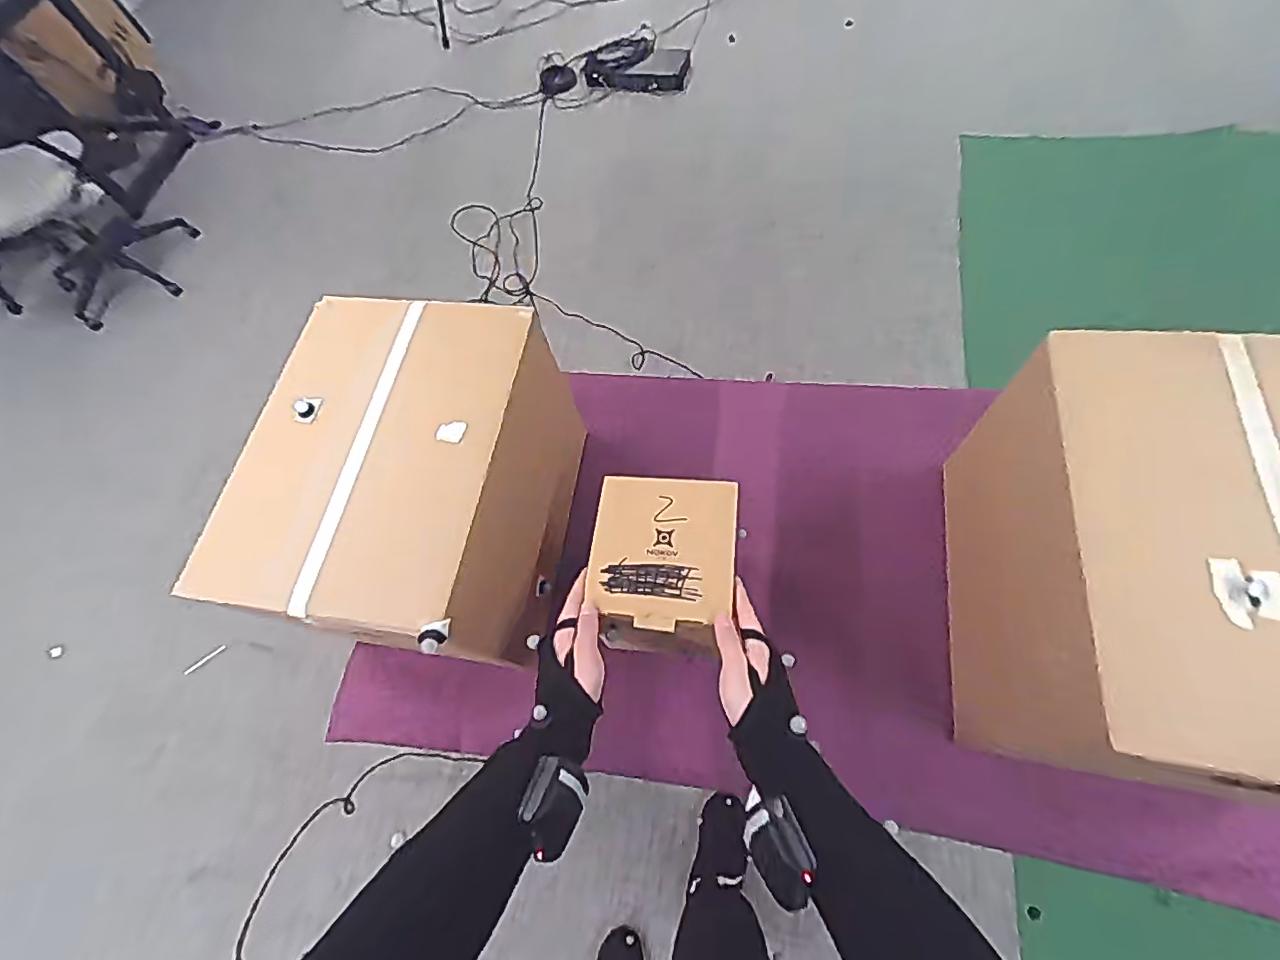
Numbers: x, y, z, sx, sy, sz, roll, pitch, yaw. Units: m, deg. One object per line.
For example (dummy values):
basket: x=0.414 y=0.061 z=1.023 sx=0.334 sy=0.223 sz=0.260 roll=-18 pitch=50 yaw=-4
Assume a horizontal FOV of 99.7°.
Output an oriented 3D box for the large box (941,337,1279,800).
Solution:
large box: x=0.560 y=0.105 z=0.592 sx=0.320 sy=0.320 sz=0.408 roll=6 pitch=66 yaw=12
